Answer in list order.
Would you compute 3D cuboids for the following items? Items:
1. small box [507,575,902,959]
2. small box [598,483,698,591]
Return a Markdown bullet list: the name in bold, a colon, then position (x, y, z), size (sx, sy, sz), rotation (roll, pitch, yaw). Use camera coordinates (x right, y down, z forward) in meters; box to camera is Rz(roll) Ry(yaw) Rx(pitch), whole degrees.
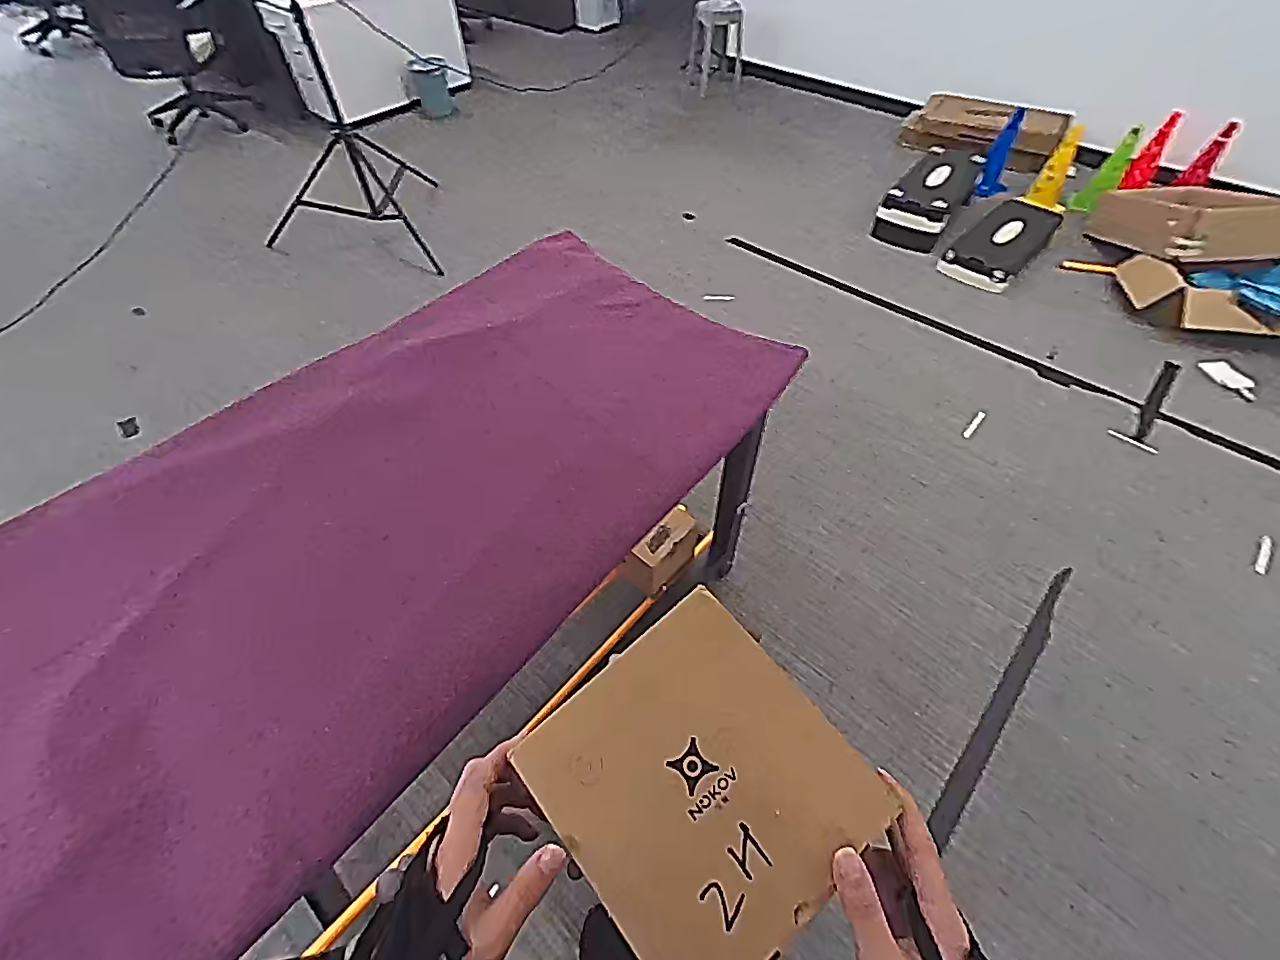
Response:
- **small box**: position (0.036, 0.203, 0.388), size (0.168, 0.176, 0.179), rotation (-38, 69, -13)
- **small box**: position (0.022, 0.148, 1.326), size (0.179, 0.176, 0.168), rotation (36, 62, 25)
